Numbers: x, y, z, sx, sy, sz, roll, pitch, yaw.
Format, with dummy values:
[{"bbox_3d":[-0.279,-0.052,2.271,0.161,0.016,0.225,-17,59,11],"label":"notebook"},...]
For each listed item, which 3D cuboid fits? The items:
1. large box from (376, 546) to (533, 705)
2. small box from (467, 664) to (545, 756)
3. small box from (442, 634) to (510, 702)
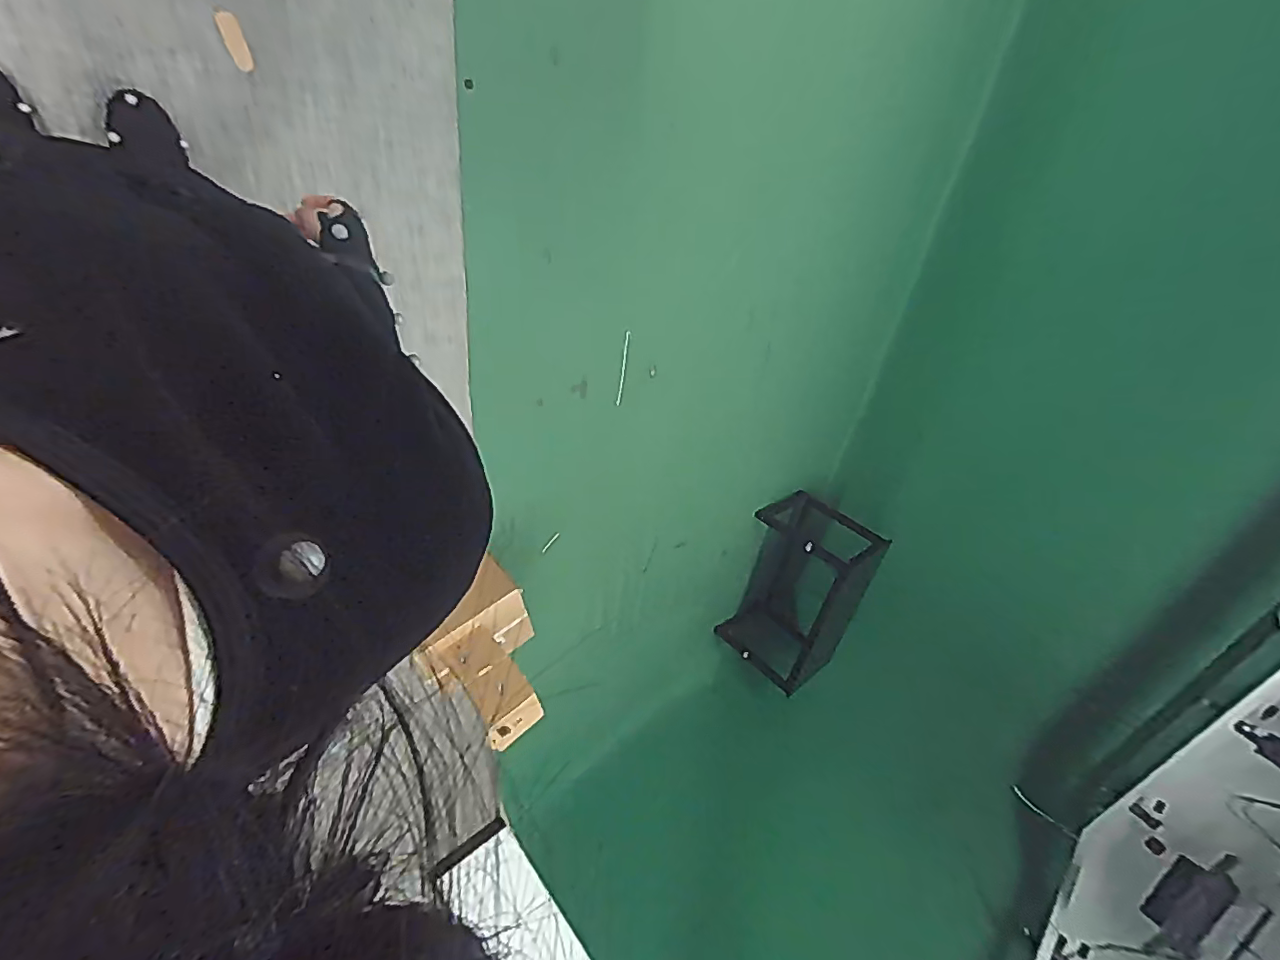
[{"bbox_3d":[-0.671,0.525,1.993,0.408,0.320,0.320,-34,141,-29],"label":"large box"},{"bbox_3d":[-0.433,0.731,1.728,0.179,0.176,0.168,-33,139,-27],"label":"small box"},{"bbox_3d":[-0.540,0.651,1.823,0.168,0.176,0.179,-32,139,-28],"label":"small box"}]
